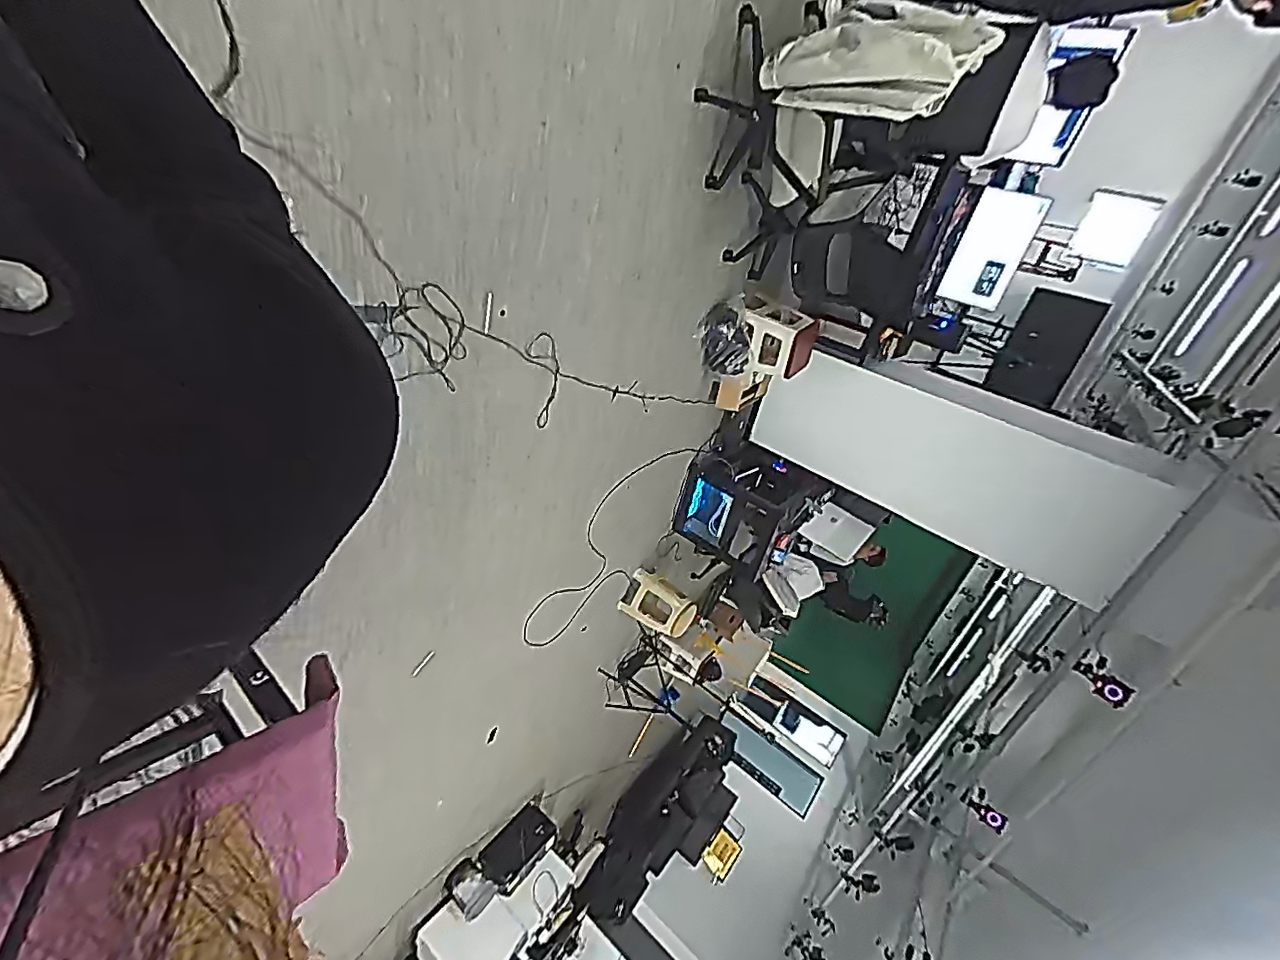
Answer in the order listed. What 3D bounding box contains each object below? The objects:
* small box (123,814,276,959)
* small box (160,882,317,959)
[{"bbox_3d":[-0.770,0.742,0.961,0.168,0.176,0.179,-26,139,-47],"label":"small box"},{"bbox_3d":[-0.645,0.811,0.882,0.168,0.176,0.179,-27,140,-45],"label":"small box"}]
